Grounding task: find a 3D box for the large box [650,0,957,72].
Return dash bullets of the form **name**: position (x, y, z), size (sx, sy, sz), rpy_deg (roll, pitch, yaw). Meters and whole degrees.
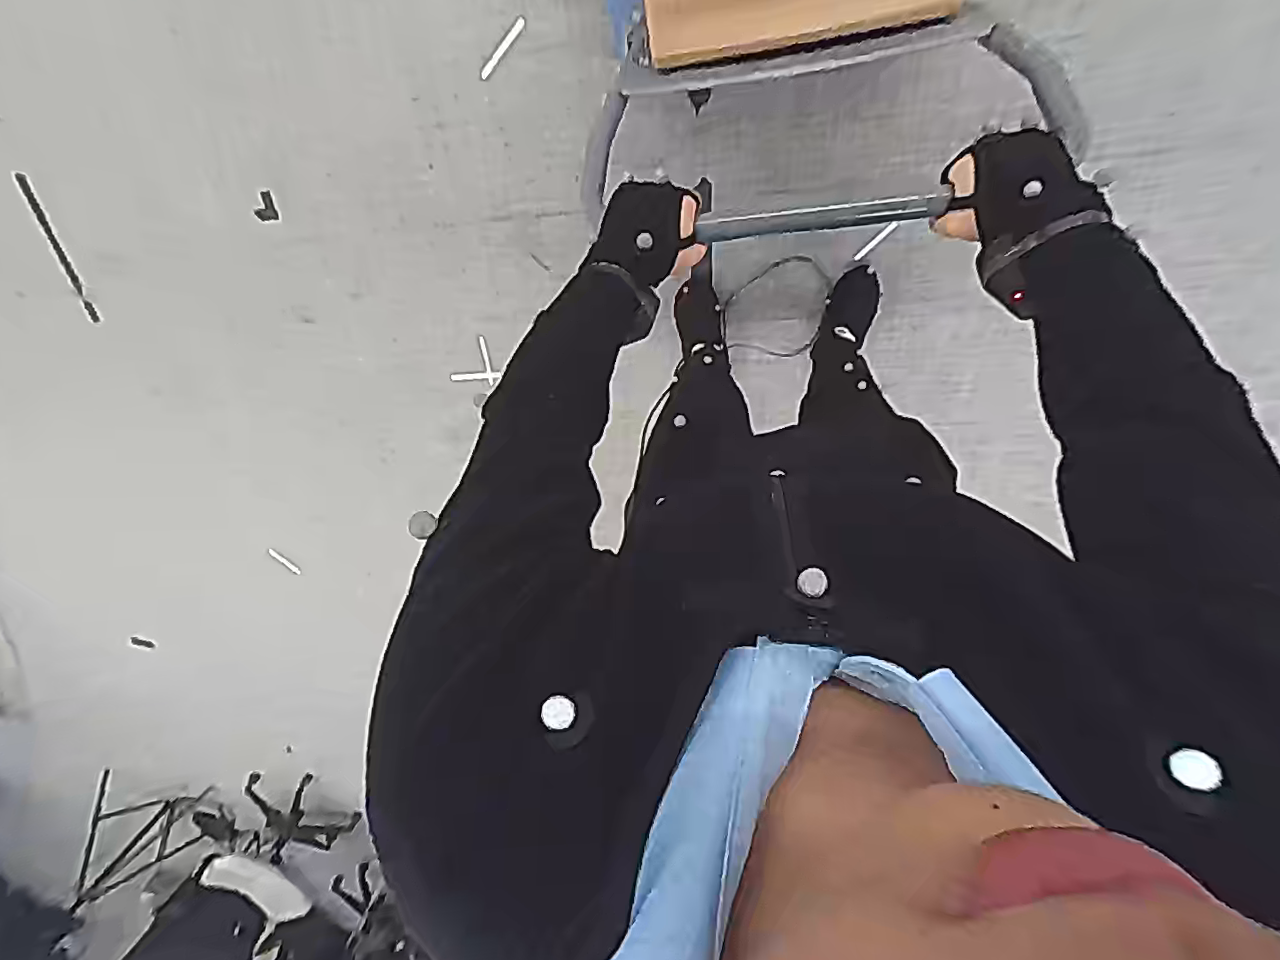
- **large box**: position (0.208, -0.817, 0.748), size (0.408, 0.320, 0.320), rpy_deg (-3, 135, 11)
